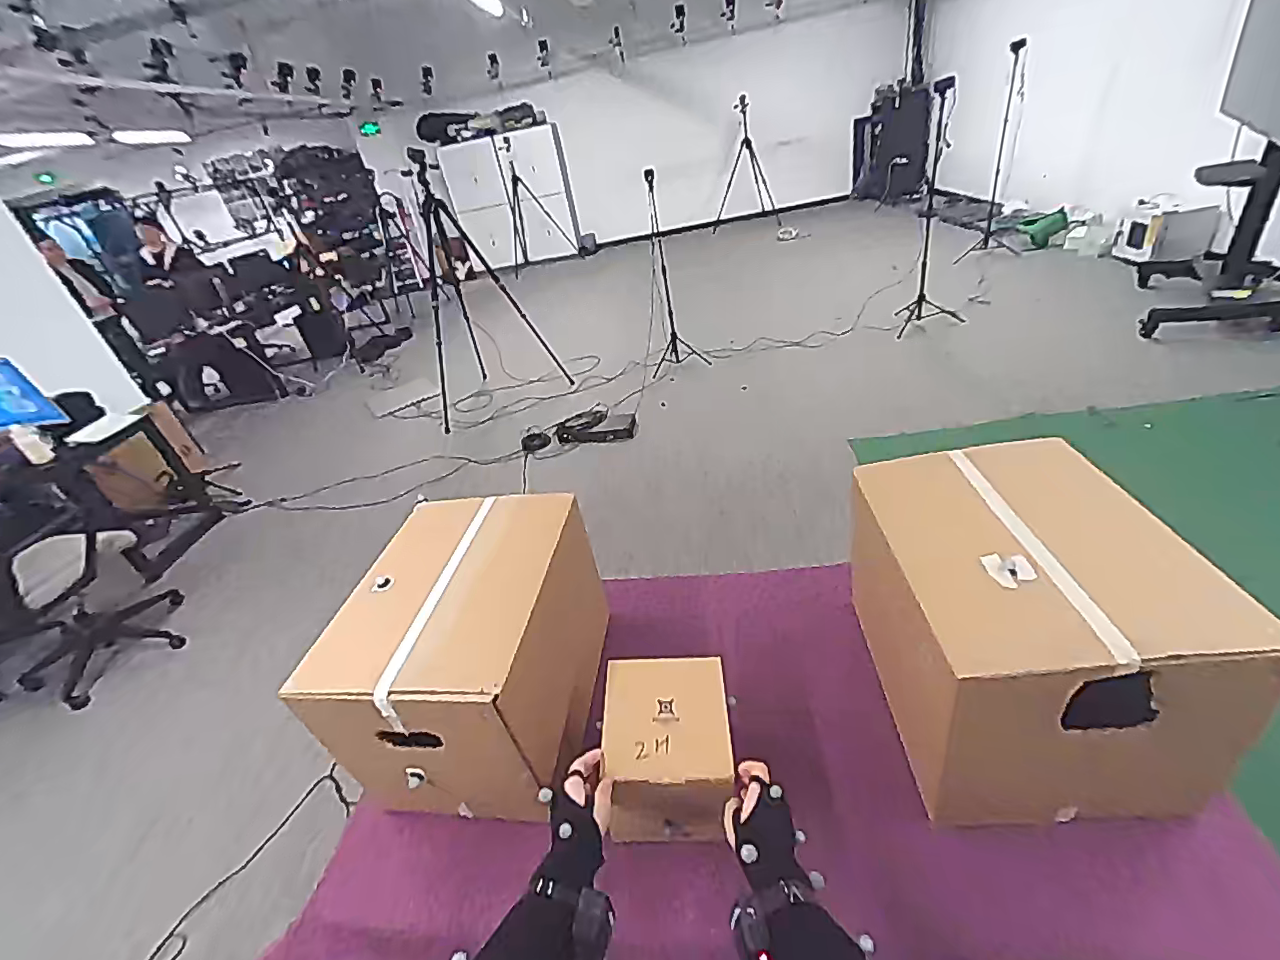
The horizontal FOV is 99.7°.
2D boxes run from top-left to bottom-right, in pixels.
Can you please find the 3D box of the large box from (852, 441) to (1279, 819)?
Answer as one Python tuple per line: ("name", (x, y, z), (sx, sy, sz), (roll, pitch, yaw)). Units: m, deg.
("large box", (0.512, 0.192, 0.765), (0.320, 0.320, 0.408), (-9, 33, 10))
